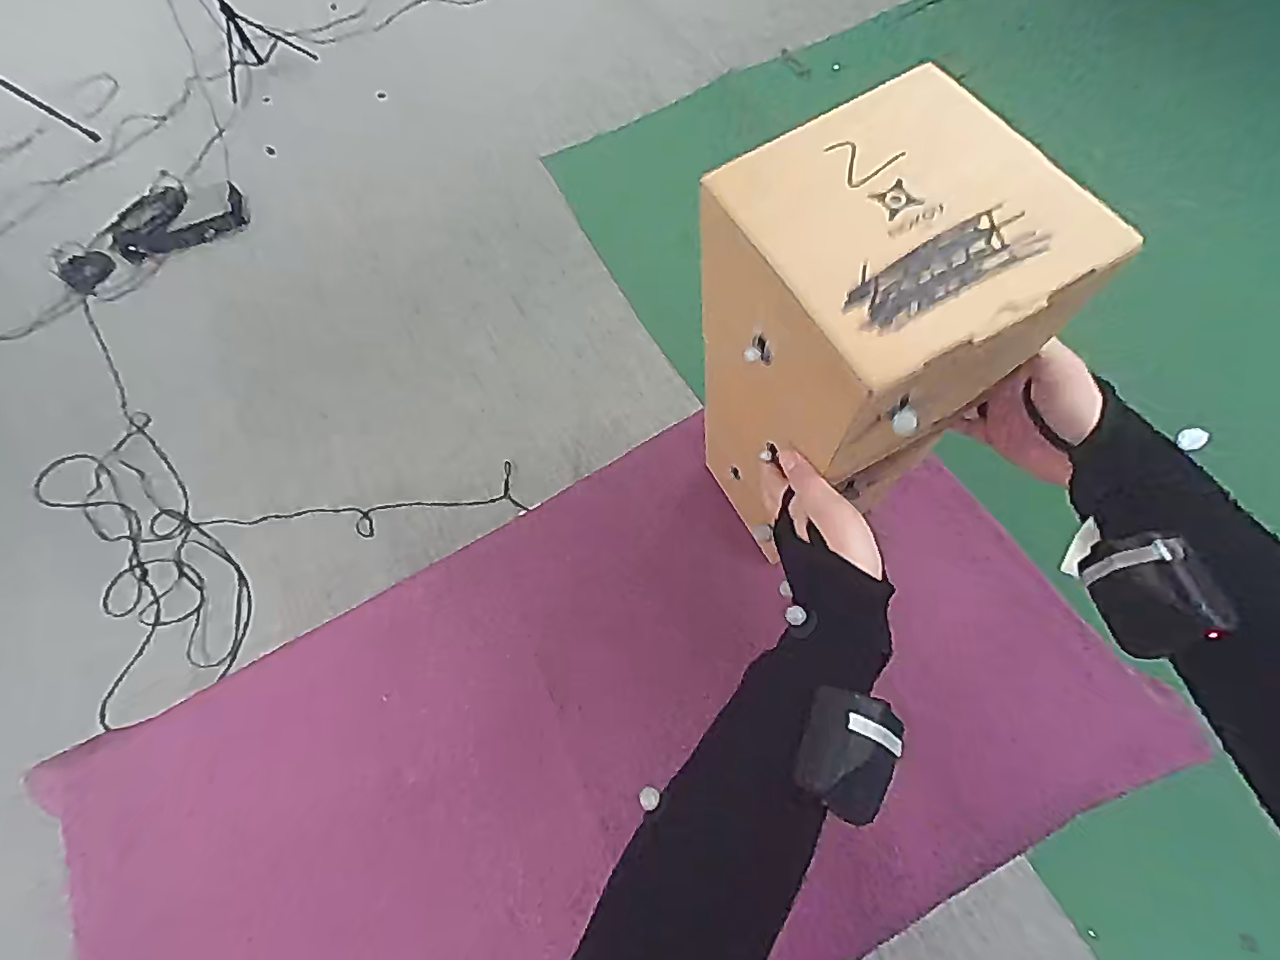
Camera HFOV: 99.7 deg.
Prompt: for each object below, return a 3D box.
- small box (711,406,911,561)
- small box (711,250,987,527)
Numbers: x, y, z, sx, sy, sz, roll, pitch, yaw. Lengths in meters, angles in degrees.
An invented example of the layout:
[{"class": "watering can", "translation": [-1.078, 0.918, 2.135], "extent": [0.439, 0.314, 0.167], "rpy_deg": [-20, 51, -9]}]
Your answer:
[{"class": "small box", "translation": [0.199, -0.022, 0.682], "extent": [0.168, 0.176, 0.179], "rpy_deg": [-28, 68, -4]}, {"class": "small box", "translation": [0.178, -0.079, 0.532], "extent": [0.168, 0.176, 0.179], "rpy_deg": [-25, 68, -4]}]
